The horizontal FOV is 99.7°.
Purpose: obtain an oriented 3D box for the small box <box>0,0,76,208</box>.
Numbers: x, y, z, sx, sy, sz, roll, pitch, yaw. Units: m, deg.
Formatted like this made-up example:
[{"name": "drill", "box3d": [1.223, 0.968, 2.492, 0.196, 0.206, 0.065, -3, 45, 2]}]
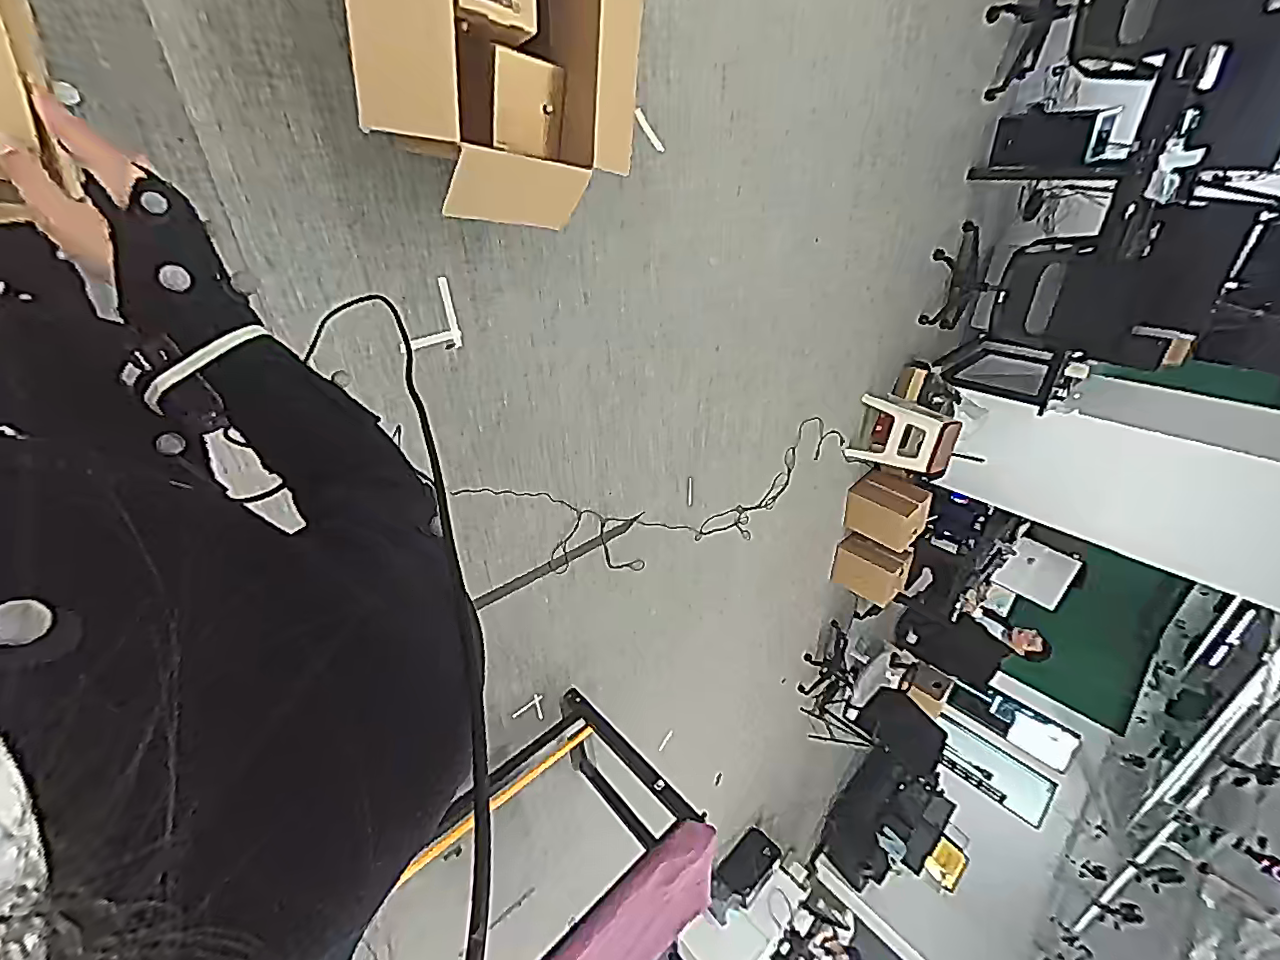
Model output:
[{"name": "small box", "box3d": [-0.490, -0.266, 0.324, 0.179, 0.176, 0.168, -14, 116, -38]}]
